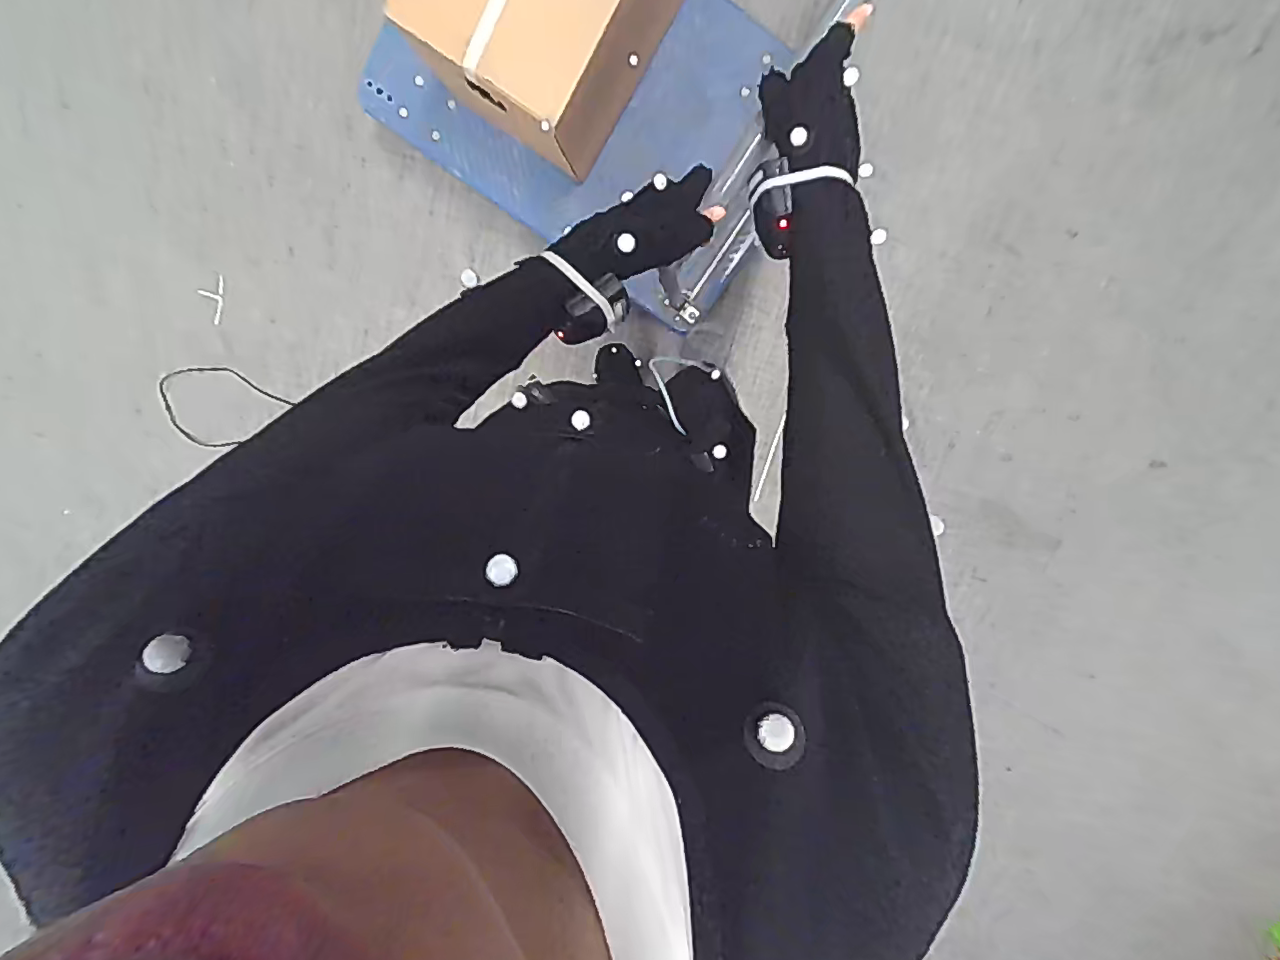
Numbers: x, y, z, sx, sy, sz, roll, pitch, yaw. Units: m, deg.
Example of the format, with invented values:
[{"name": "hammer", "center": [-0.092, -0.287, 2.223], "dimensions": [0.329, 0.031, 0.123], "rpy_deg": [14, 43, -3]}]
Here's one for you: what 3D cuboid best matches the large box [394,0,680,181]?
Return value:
[{"name": "large box", "center": [-0.148, -0.839, 0.953], "dimensions": [0.320, 0.320, 0.408], "rpy_deg": [32, 104, -4]}]
